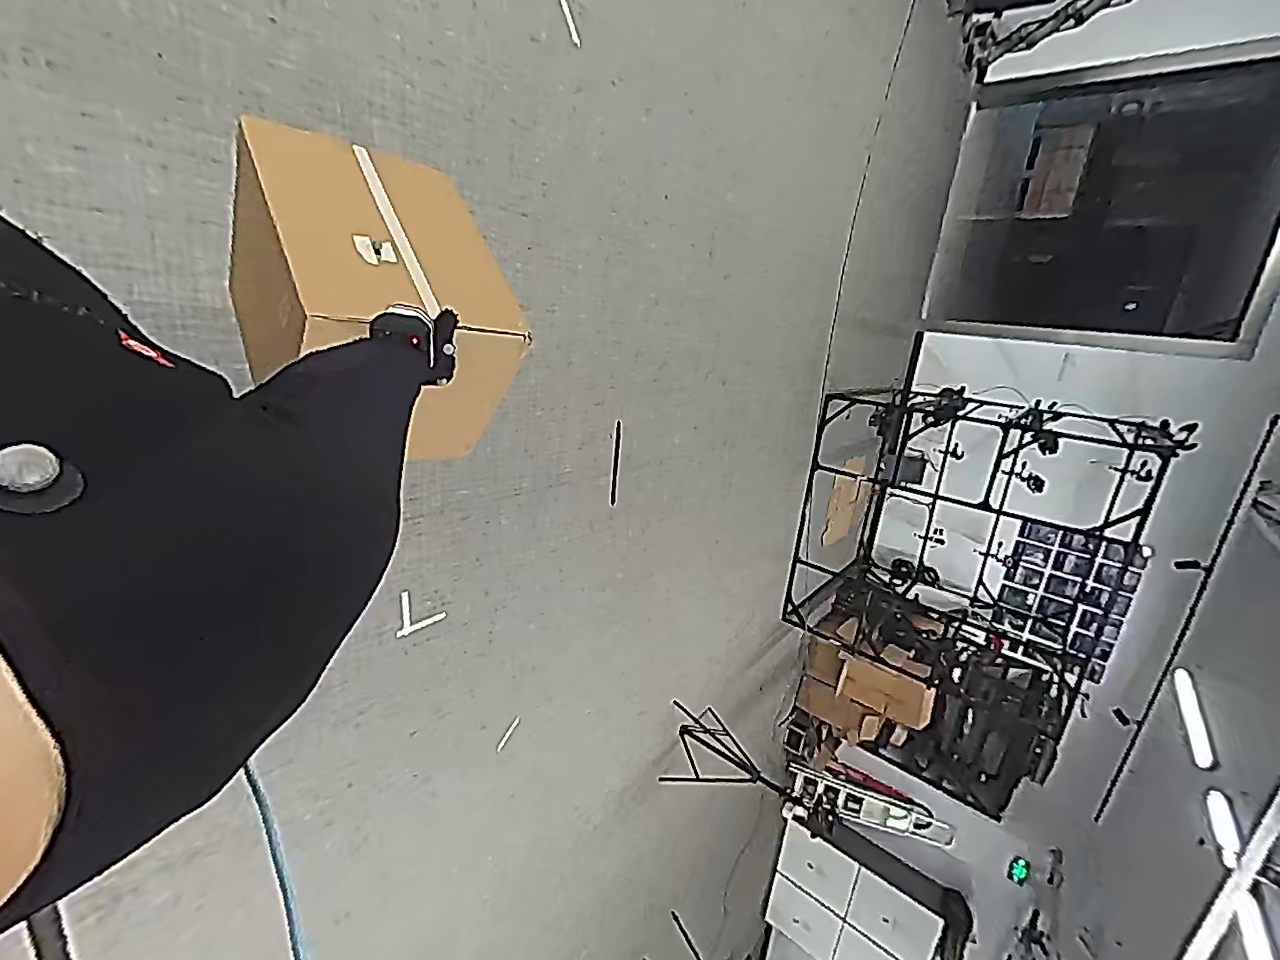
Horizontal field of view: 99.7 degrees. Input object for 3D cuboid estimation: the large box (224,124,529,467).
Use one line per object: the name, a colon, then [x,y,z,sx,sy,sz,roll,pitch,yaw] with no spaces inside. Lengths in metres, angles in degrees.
large box: [-0.456,-0.278,0.905,0.320,0.408,0.320,-9,152,-45]
